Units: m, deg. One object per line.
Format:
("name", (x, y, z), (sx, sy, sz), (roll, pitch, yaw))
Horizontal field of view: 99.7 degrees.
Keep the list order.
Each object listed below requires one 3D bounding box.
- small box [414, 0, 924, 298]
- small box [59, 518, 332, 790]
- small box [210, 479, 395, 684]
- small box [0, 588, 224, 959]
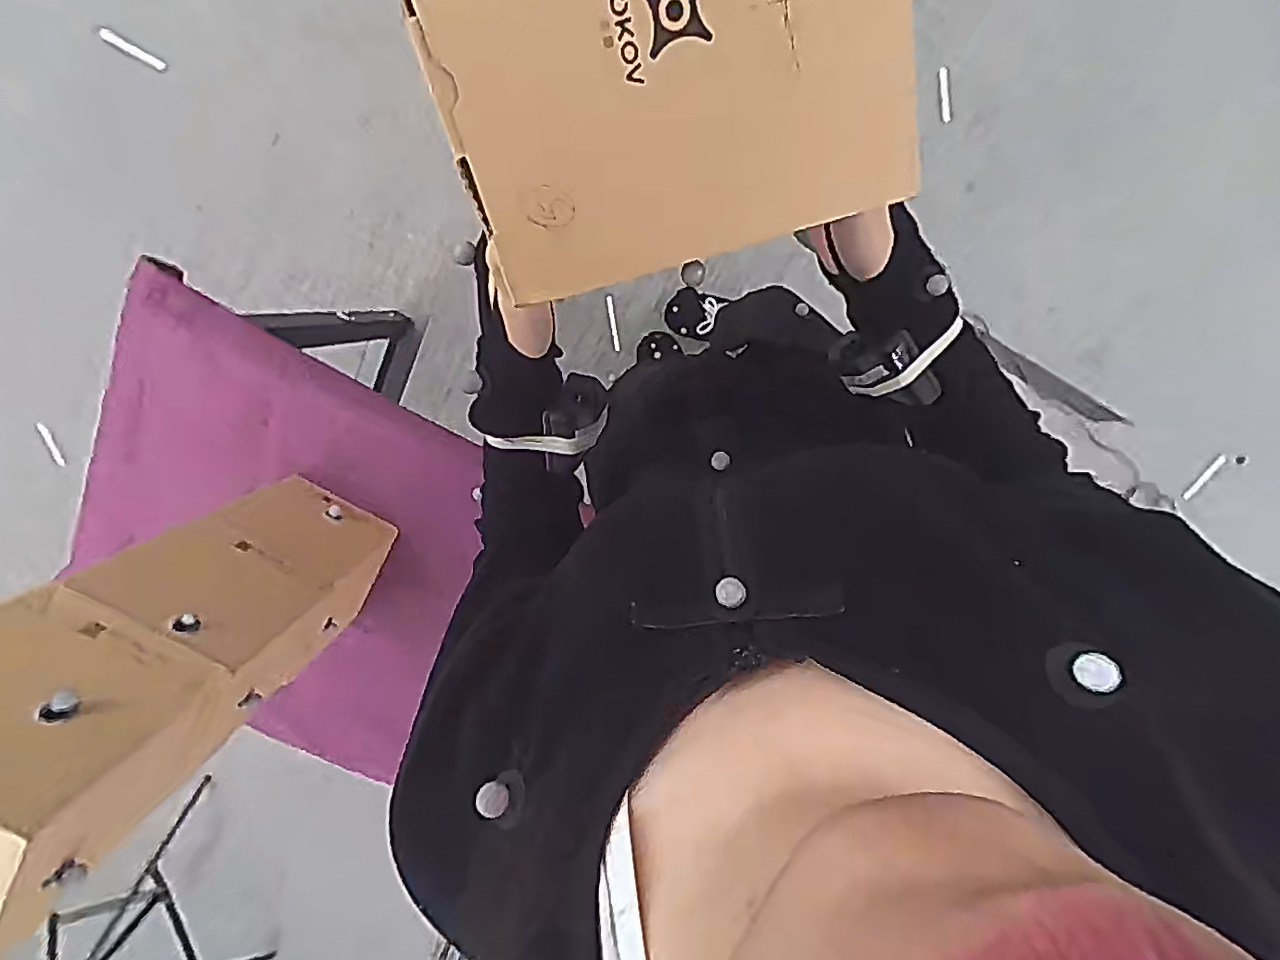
("small box", (0.009, -0.200, 0.264), (0.179, 0.176, 0.168), (-14, 116, 4))
("small box", (-0.470, 0.173, 0.574), (0.168, 0.176, 0.179), (32, 107, -8))
("small box", (-0.466, 0.127, 0.732), (0.168, 0.176, 0.179), (30, 106, -7))
("small box", (-0.474, 0.217, 0.417), (0.168, 0.176, 0.179), (32, 107, -8))
